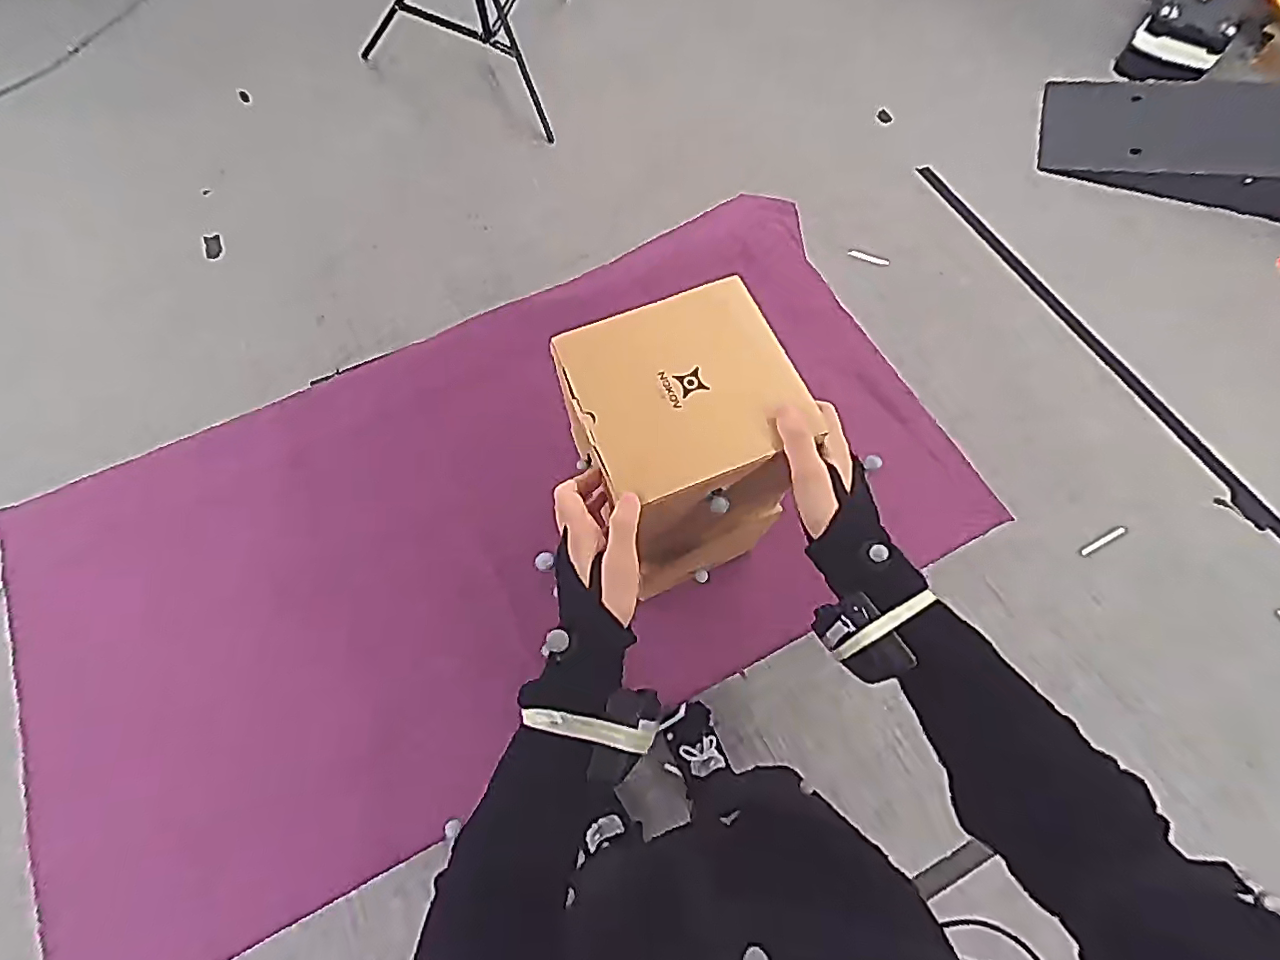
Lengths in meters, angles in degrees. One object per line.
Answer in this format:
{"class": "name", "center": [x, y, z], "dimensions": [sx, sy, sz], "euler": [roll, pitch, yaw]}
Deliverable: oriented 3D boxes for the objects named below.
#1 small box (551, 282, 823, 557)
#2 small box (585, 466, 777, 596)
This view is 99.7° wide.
{"class": "small box", "center": [0.034, -0.045, 0.507], "dimensions": [0.179, 0.176, 0.168], "euler": [-21, 70, -7]}
{"class": "small box", "center": [0.037, 0.021, 0.655], "dimensions": [0.168, 0.176, 0.179], "euler": [-23, 71, -8]}
